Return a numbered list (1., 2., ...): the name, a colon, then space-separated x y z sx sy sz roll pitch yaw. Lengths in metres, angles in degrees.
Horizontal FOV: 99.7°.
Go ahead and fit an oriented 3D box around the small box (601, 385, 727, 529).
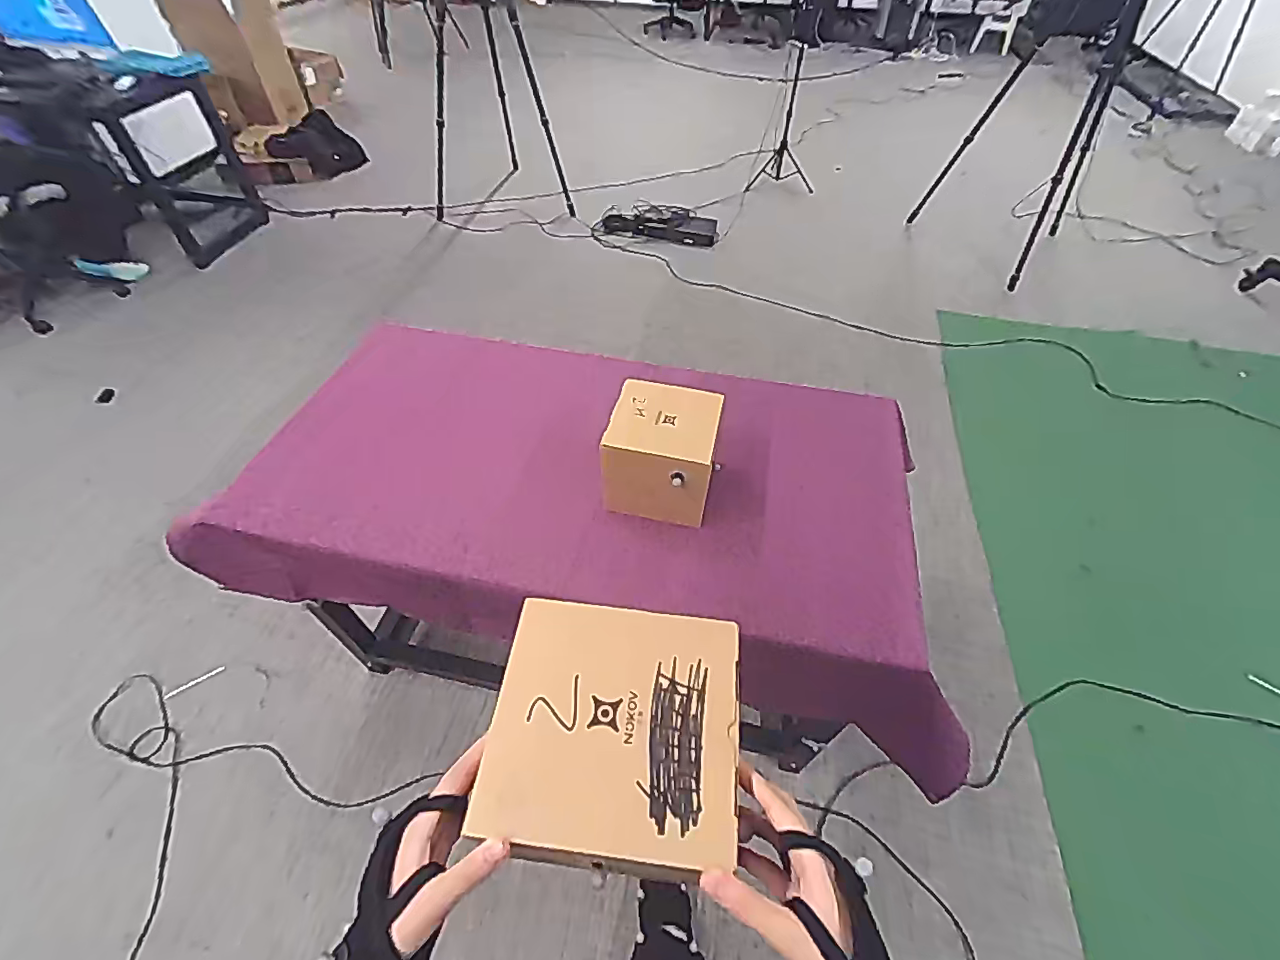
1. small box: 0.041 -0.036 0.933 0.179 0.176 0.168 11 50 9
